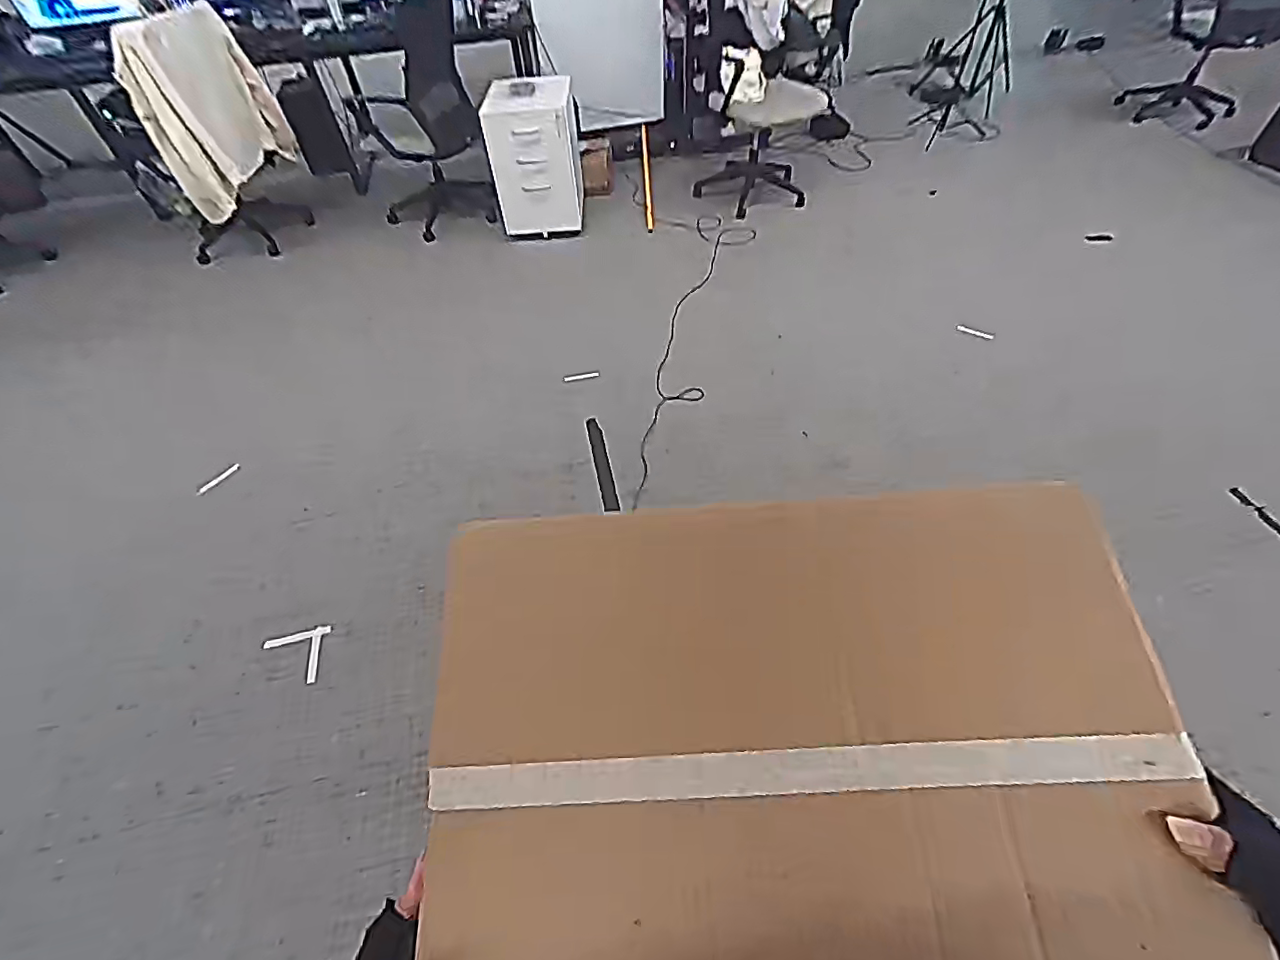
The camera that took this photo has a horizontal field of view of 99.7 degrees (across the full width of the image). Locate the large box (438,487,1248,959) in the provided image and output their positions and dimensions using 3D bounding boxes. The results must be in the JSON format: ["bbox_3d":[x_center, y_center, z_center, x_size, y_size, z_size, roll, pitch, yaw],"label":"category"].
[{"bbox_3d":[0.098,0.220,0.440,0.408,0.320,0.320,-4,68,4],"label":"large box"}]
